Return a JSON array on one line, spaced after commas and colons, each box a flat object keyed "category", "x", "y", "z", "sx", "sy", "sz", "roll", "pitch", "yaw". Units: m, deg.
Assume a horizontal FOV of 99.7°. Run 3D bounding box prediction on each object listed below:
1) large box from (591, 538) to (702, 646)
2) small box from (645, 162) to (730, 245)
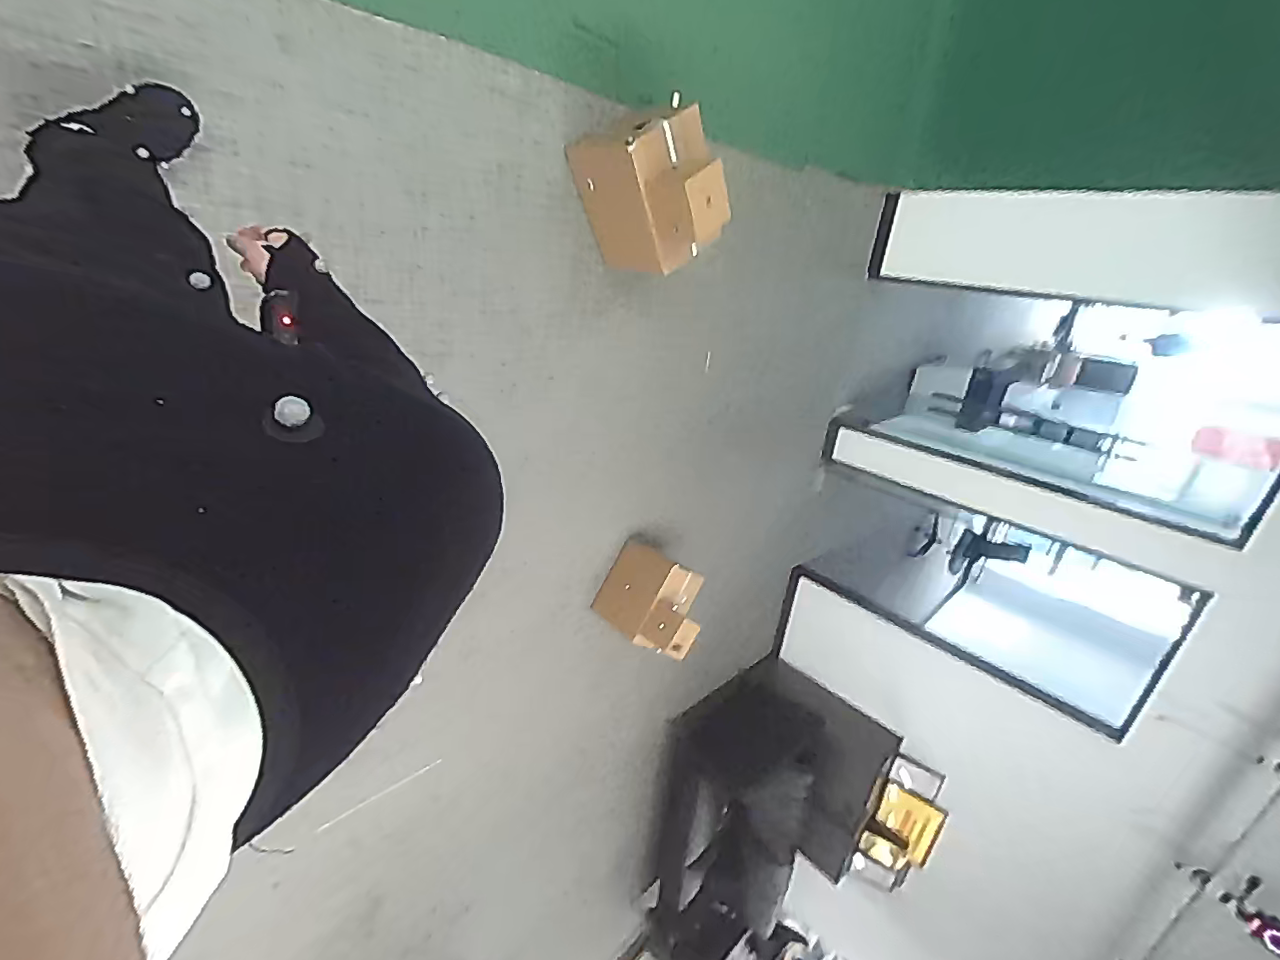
[{"category": "large box", "x": 0.030, "y": 0.552, "z": 2.656, "sx": 0.320, "sy": 0.320, "sz": 0.408, "roll": 30, "pitch": 87, "yaw": -51}, {"category": "small box", "x": 0.142, "y": -0.833, "z": 1.625, "sx": 0.168, "sy": 0.176, "sz": 0.179, "roll": -43, "pitch": 136, "yaw": -21}]
